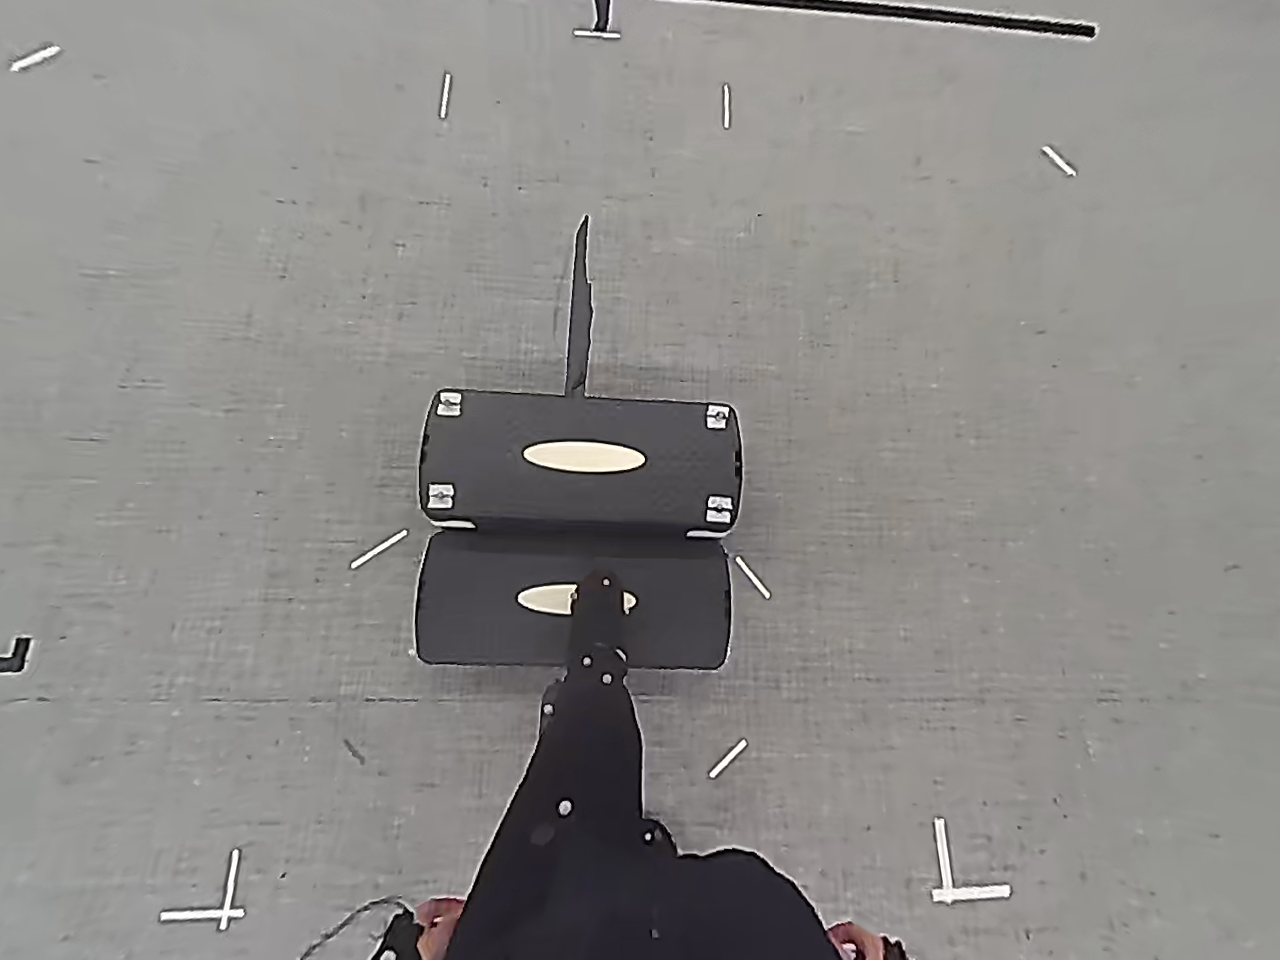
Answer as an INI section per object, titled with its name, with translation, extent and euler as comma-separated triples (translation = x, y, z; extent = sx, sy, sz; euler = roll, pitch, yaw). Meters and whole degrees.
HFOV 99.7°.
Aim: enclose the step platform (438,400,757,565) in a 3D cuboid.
[step platform]
translation = -0.087, 0.012, 1.210
extent = 0.684, 0.204, 0.286
euler = 7, 75, -3
